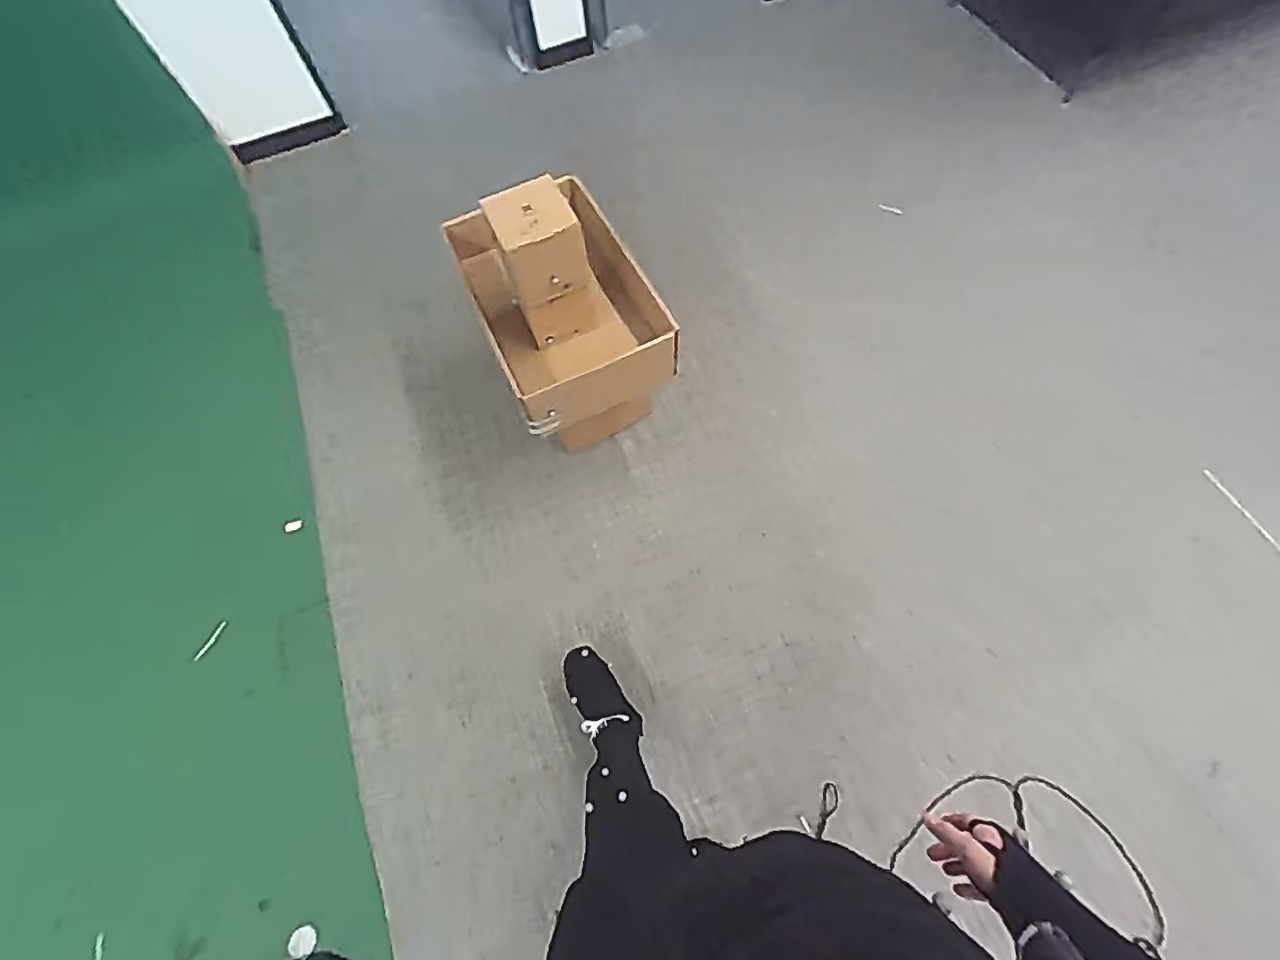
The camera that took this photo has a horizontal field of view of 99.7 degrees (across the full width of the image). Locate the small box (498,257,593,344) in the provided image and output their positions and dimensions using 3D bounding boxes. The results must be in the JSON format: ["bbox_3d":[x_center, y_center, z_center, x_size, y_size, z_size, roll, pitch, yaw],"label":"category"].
[{"bbox_3d":[-0.229,-0.466,1.349,0.168,0.176,0.179,-24,66,-7],"label":"small box"}]

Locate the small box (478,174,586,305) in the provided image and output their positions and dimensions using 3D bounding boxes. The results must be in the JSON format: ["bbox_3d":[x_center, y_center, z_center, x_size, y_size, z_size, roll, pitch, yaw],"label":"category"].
[{"bbox_3d":[-0.233,-0.526,1.195,0.168,0.176,0.179,-25,67,-7],"label":"small box"}]
